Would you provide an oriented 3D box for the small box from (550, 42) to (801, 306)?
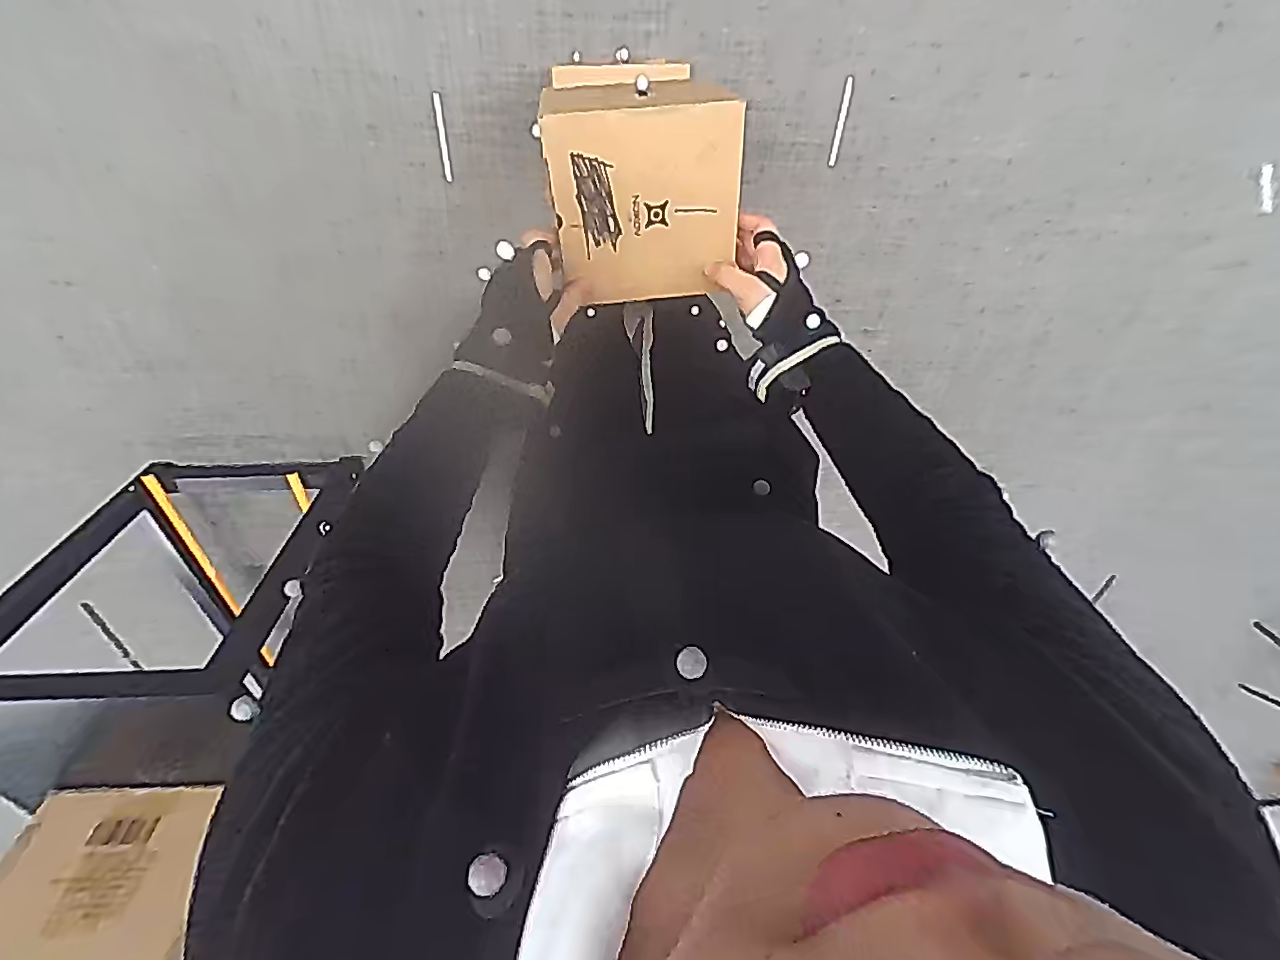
[{"bbox_3d":[0.019,-0.273,0.479,0.179,0.176,0.168,-7,134,-4],"label":"small box"}]
